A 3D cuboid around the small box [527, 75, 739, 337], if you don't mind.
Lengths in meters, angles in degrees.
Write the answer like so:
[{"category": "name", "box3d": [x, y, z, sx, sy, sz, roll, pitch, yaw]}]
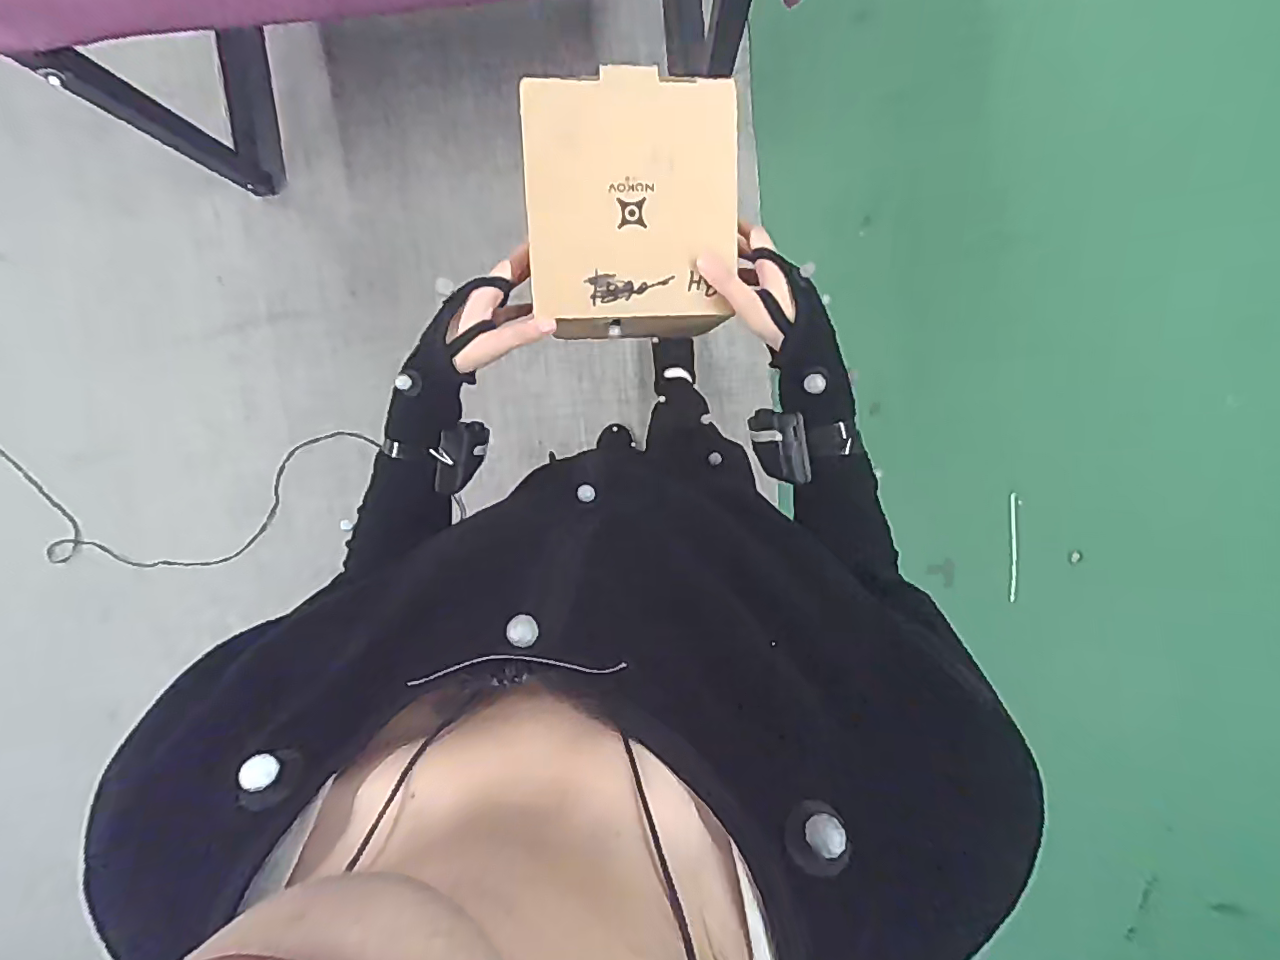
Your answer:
[{"category": "small box", "box3d": [-0.009, -0.233, 0.502, 0.168, 0.176, 0.179, -2, 100, -3]}]
